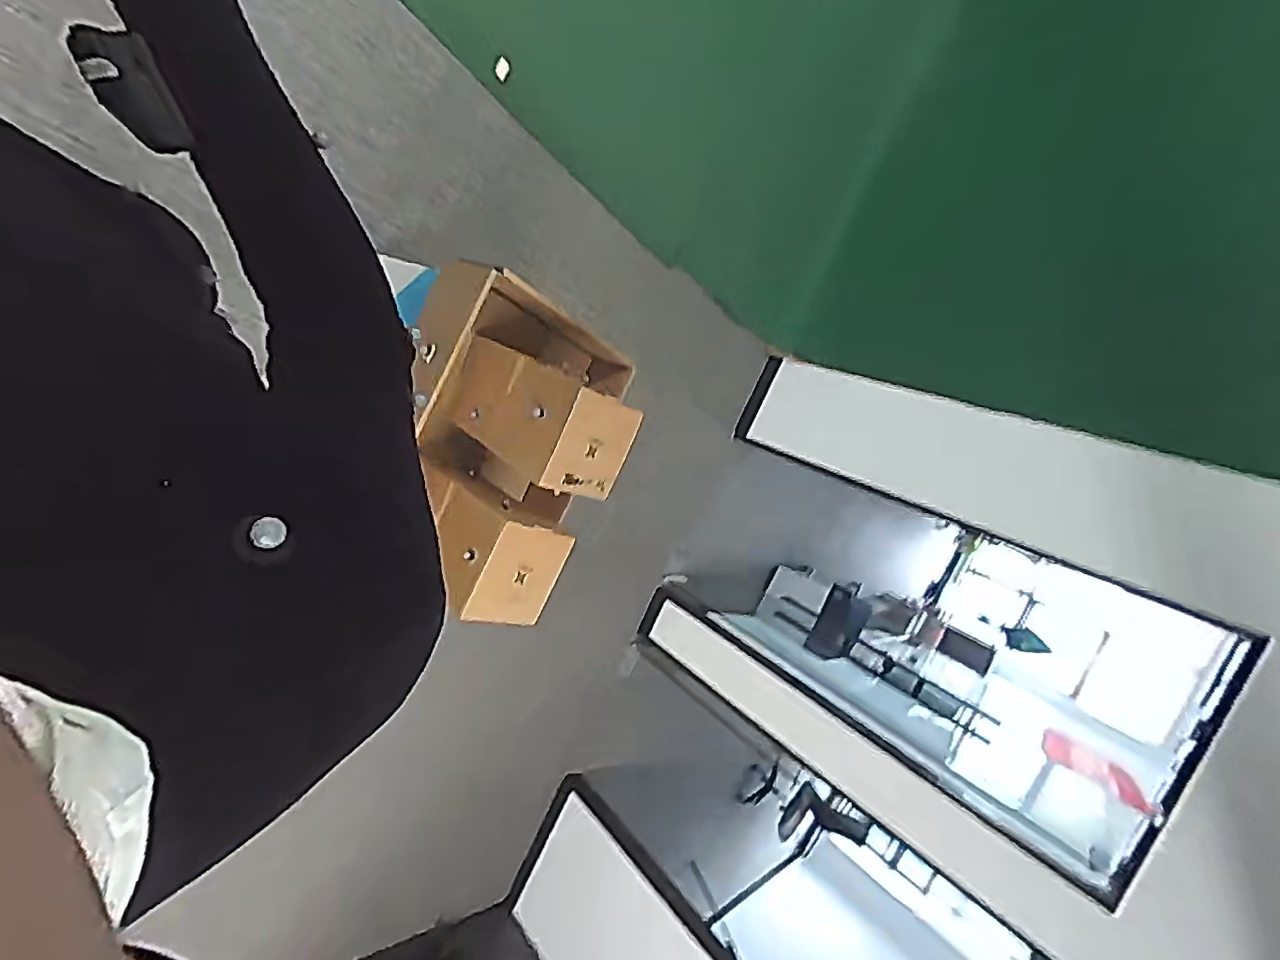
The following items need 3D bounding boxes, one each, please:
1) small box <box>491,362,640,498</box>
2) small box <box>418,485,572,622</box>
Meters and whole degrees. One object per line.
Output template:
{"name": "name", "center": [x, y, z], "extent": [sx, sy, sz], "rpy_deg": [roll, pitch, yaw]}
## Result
{"name": "small box", "center": [-0.137, -0.090, 0.960], "extent": [0.168, 0.176, 0.179], "rpy_deg": [16, 101, -51]}
{"name": "small box", "center": [-0.259, 0.128, 0.955], "extent": [0.168, 0.176, 0.179], "rpy_deg": [26, 91, -52]}
